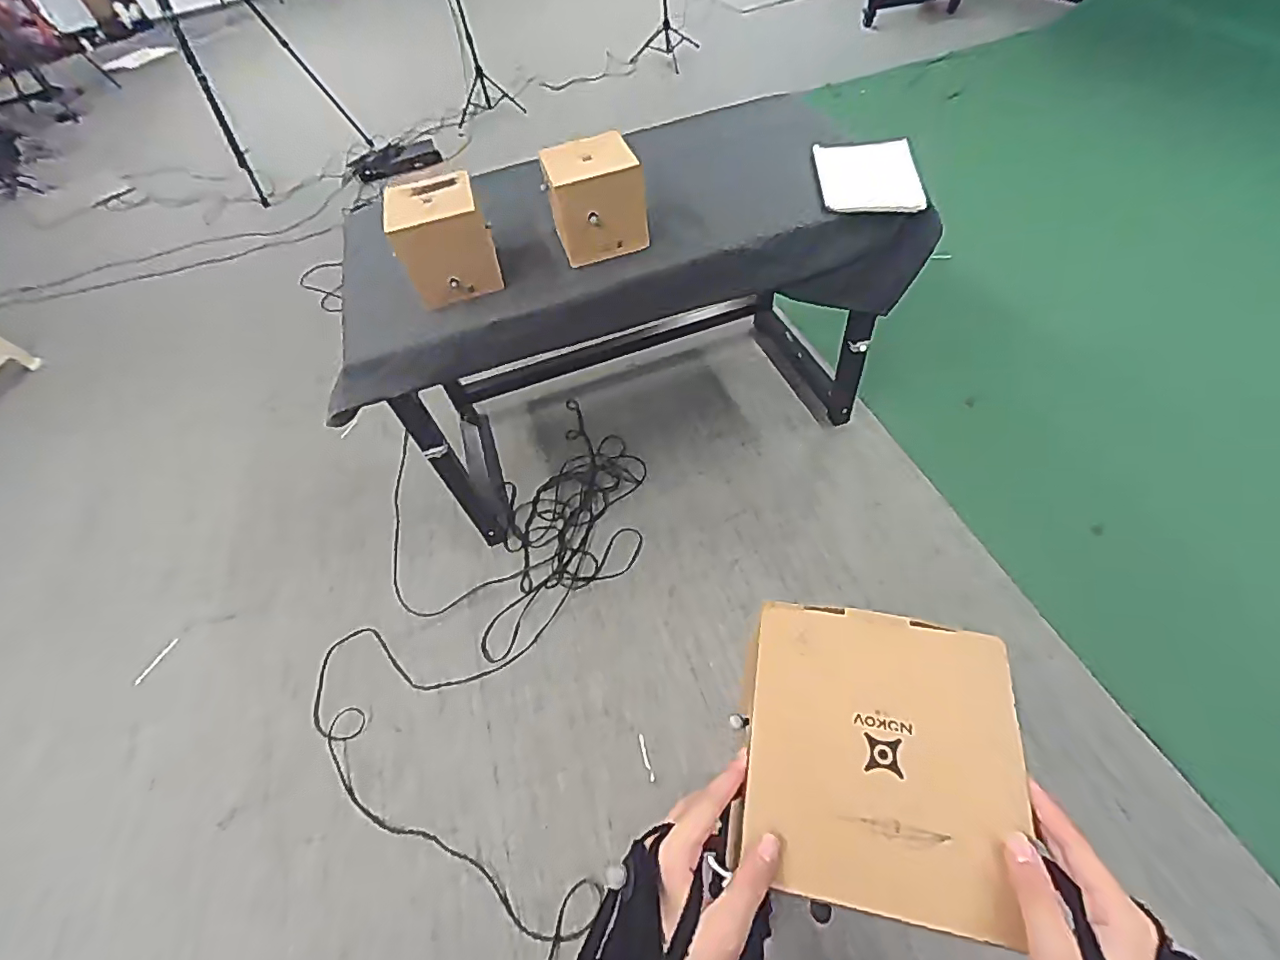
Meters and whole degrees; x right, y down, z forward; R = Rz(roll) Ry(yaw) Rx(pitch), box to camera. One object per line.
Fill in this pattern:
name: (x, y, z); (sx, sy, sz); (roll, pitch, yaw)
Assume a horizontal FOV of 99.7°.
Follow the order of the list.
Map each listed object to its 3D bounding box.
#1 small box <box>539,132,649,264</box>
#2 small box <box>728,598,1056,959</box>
small box: (-0.088, -0.557, 1.083); (0.168, 0.176, 0.179); (-18, 52, -4)
small box: (0.159, 0.211, 0.402); (0.168, 0.176, 0.179); (7, 58, 11)
